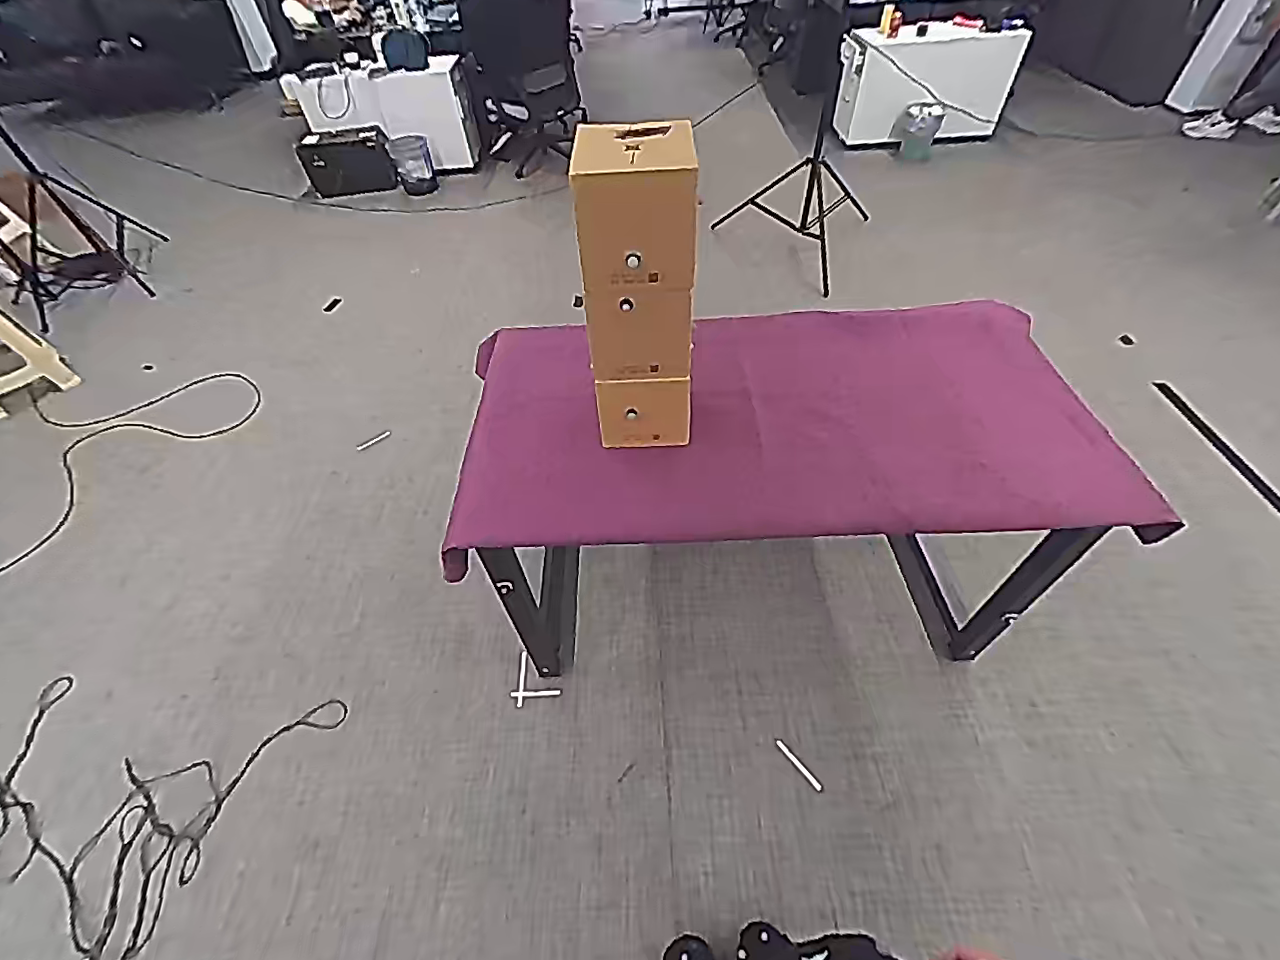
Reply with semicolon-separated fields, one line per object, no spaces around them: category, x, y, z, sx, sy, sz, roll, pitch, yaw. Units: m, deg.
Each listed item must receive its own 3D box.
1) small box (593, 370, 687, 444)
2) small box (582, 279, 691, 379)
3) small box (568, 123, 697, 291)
small box;0.006;-0.181;1.040;0.168;0.176;0.179;-2;49;2
small box;-0.003;-0.292;0.919;0.168;0.176;0.179;-3;49;2
small box;-0.006;-0.397;0.792;0.168;0.176;0.179;-2;50;2
